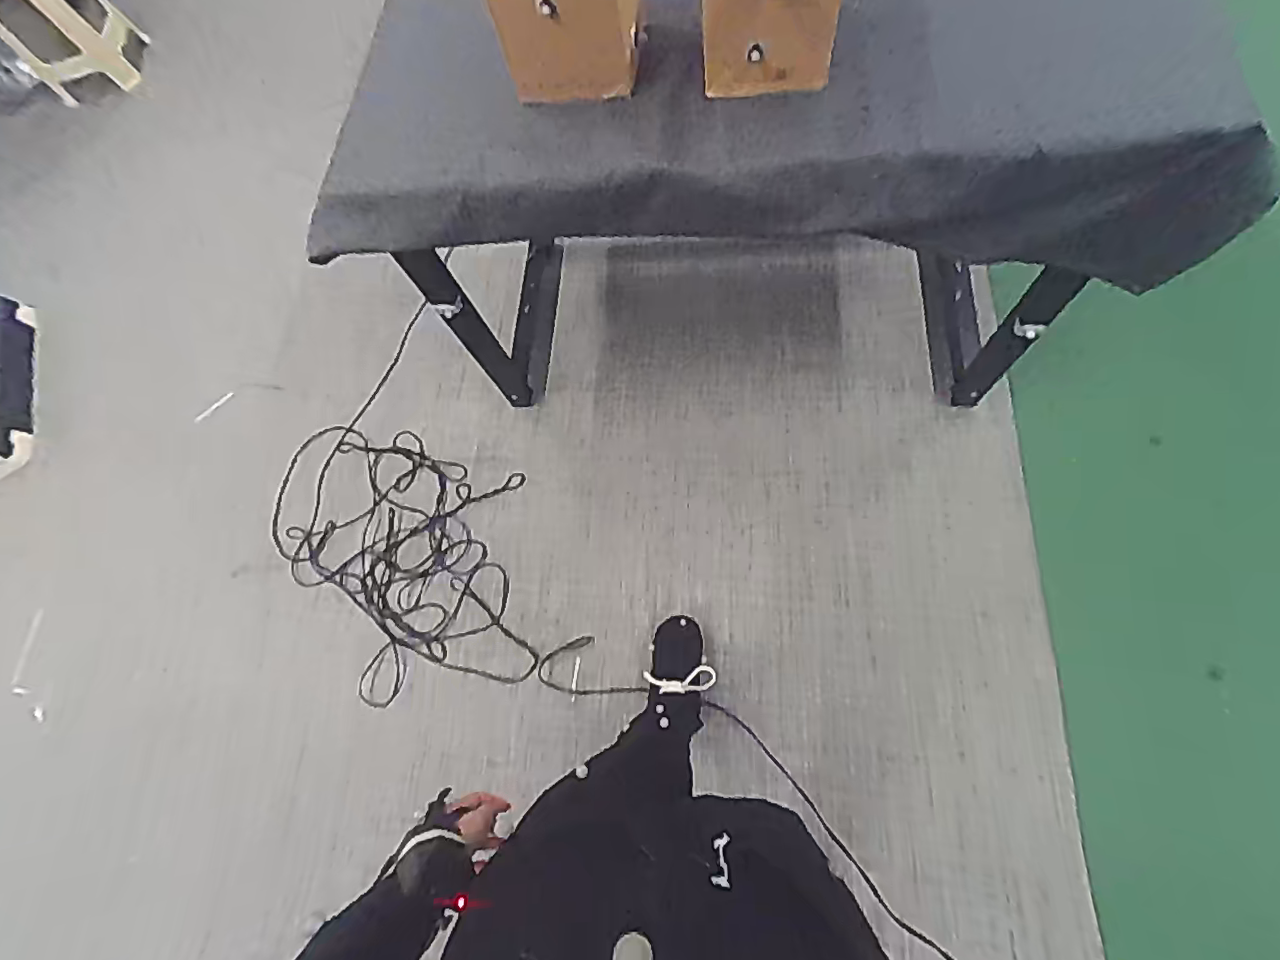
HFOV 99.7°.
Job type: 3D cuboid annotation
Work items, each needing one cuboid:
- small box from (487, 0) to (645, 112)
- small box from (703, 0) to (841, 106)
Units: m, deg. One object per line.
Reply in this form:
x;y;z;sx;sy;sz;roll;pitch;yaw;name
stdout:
-0.096;-0.651;0.759;0.179;0.176;0.168;4;71;8;small box
0.171;-0.635;0.711;0.168;0.176;0.179;3;71;10;small box
